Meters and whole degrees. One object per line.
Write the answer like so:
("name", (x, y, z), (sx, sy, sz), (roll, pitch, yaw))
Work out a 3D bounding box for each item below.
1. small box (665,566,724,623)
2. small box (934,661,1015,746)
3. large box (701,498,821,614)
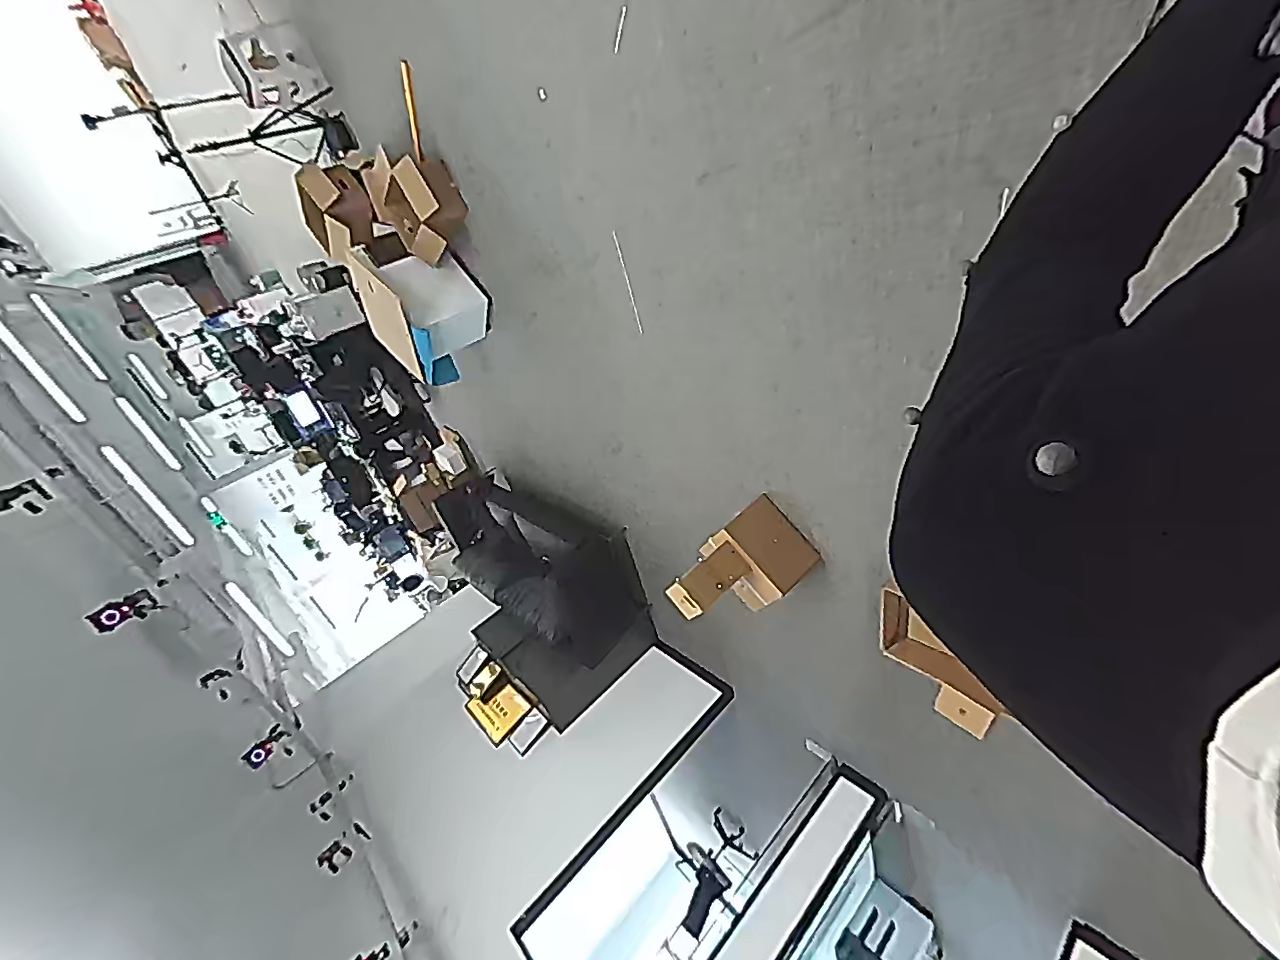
("small box", (0.245, 0.503, 2.394), (0.168, 0.176, 0.179), (50, 152, 9))
("small box", (1.151, 0.765, 1.860), (0.168, 0.176, 0.179), (32, 143, 40))
("large box", (0.575, 0.366, 2.610), (0.408, 0.320, 0.320), (48, 152, 10))
